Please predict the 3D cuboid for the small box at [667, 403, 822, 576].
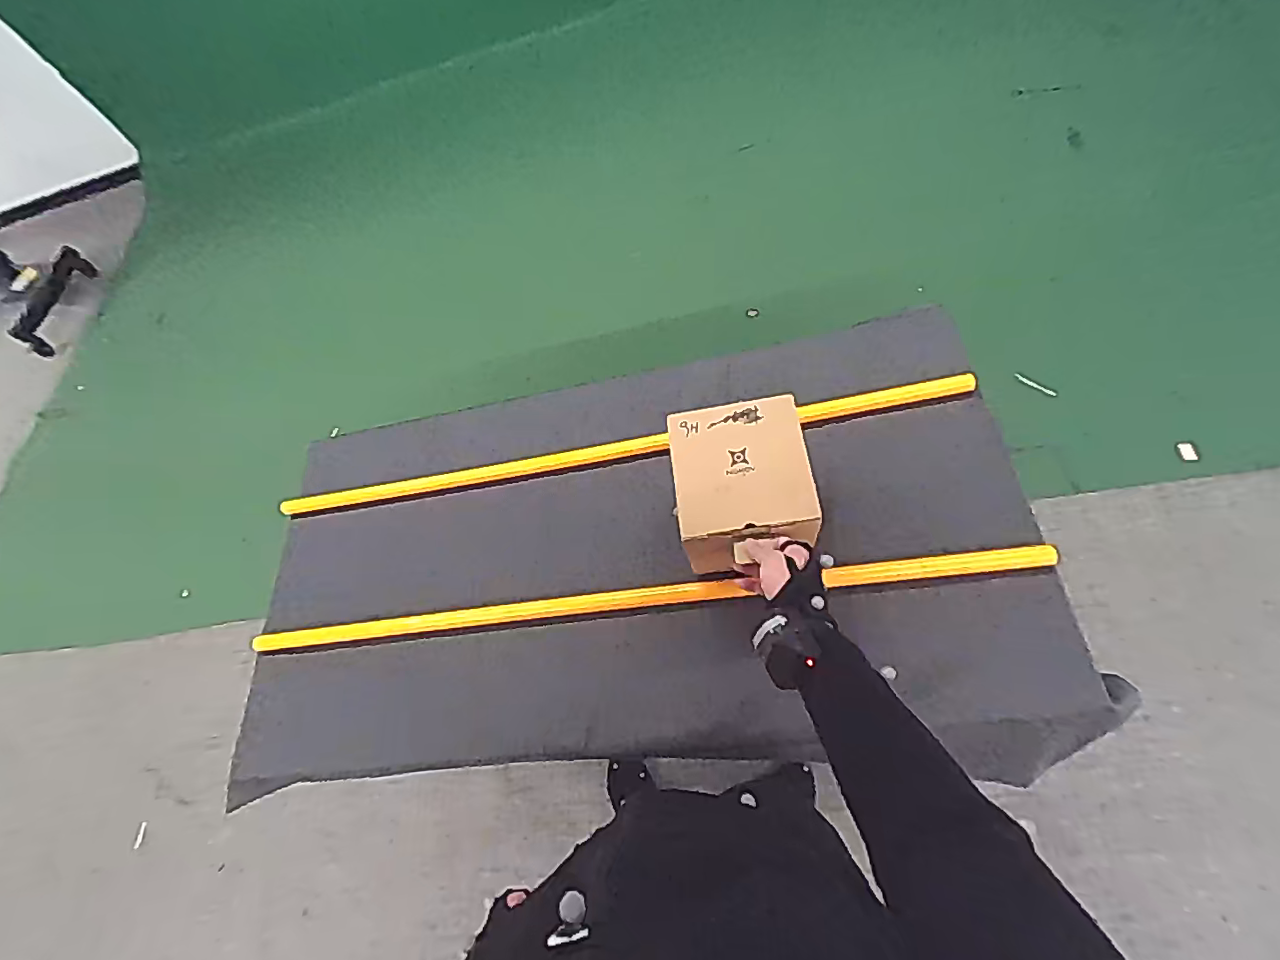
[{"bbox_3d":[0.143,0.025,0.740,0.168,0.176,0.179,-13,64,8],"label":"small box"}]
